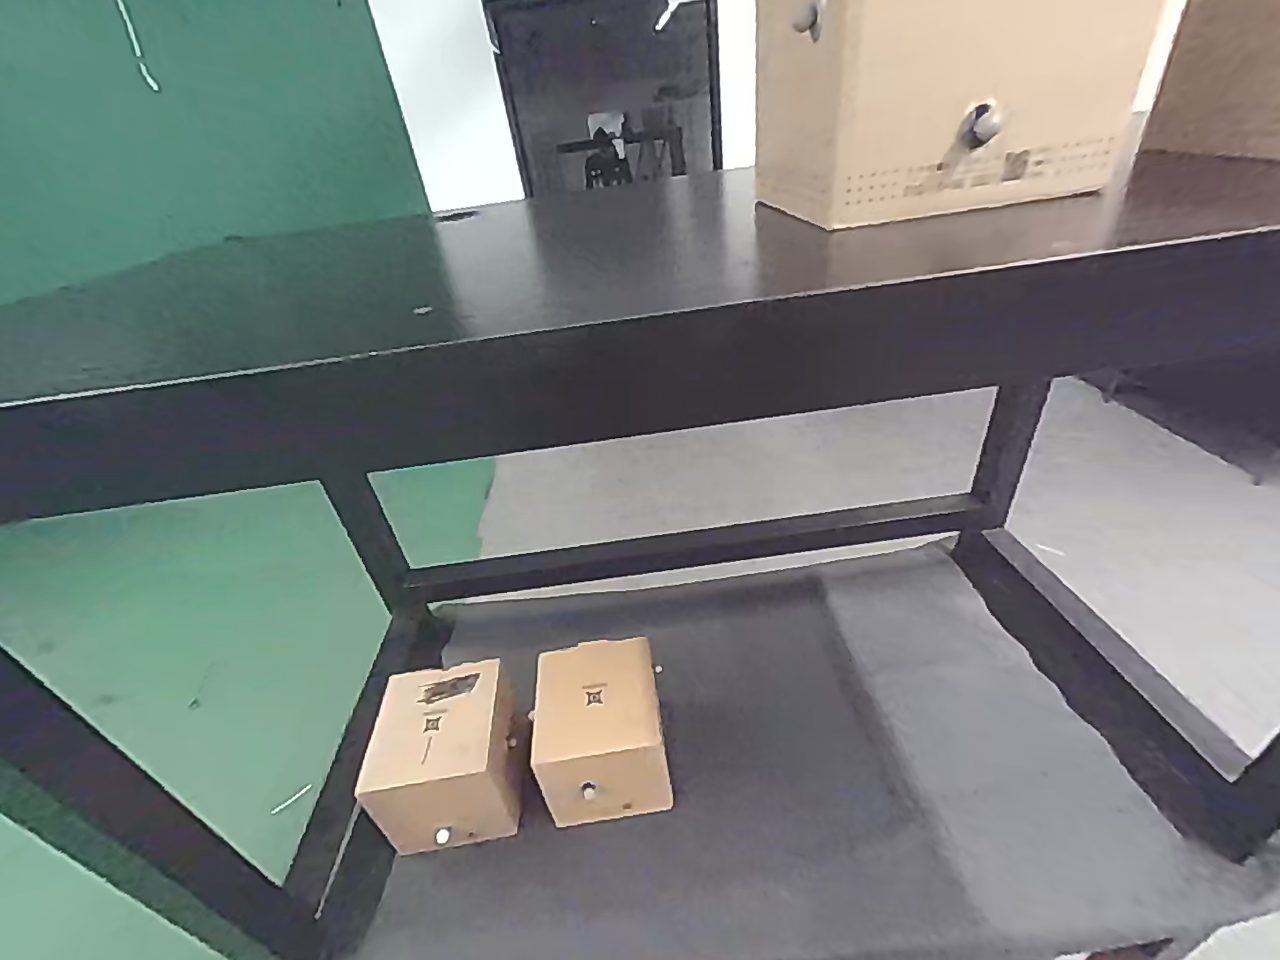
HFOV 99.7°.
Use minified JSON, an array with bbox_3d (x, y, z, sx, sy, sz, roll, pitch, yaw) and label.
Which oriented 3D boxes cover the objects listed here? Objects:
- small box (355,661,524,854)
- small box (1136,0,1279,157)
[{"bbox_3d":[-0.270,0.394,0.776,0.168,0.176,0.179,-9,33,-1],"label":"small box"},{"bbox_3d":[0.440,-0.285,0.296,0.168,0.176,0.179,-3,33,10],"label":"small box"}]
